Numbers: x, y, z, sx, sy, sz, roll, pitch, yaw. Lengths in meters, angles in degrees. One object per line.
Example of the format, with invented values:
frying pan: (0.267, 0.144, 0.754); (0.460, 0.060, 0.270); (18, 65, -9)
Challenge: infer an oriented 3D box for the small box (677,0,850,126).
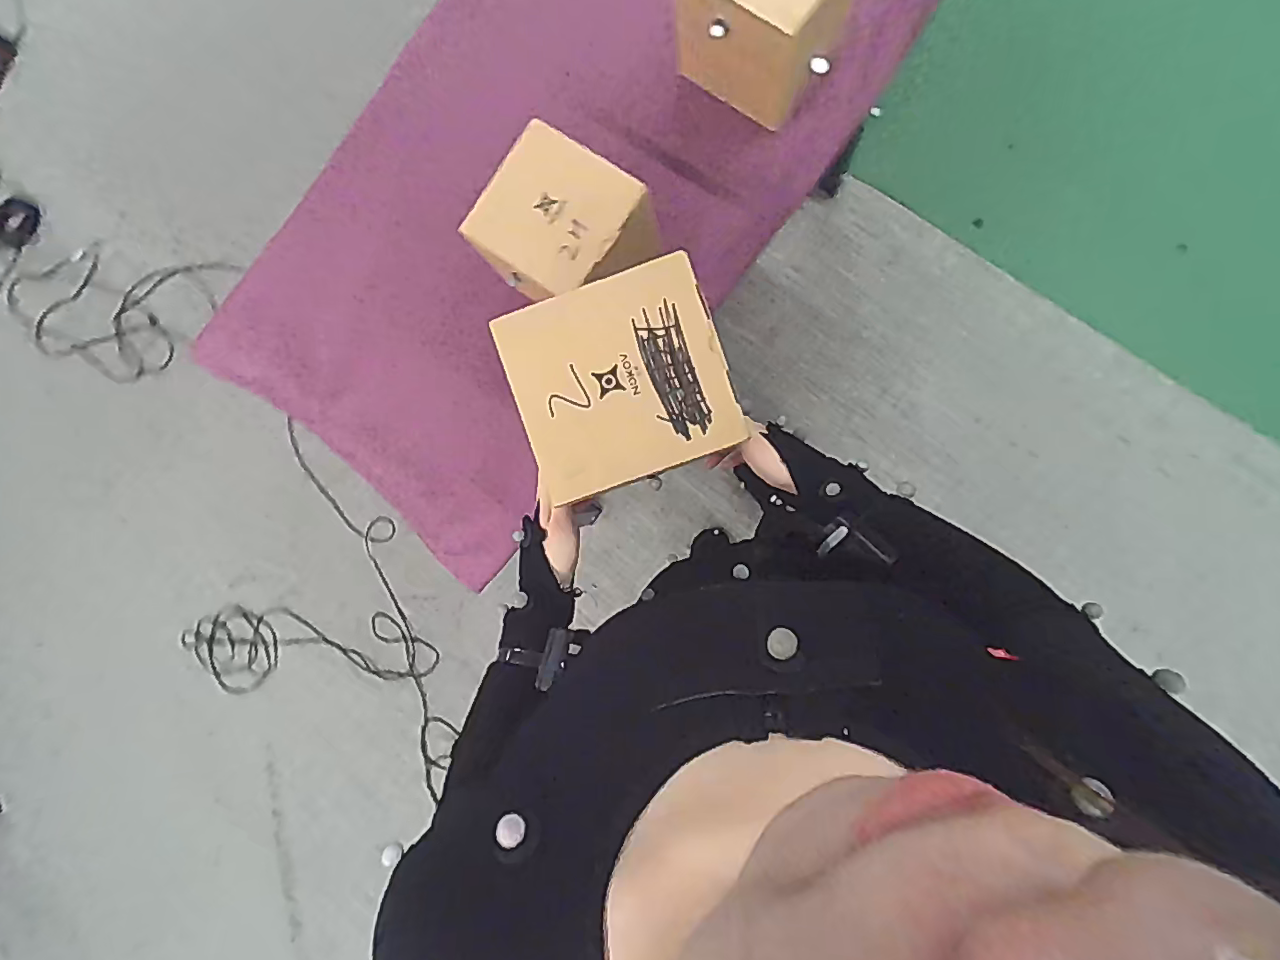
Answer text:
small box: (0.159, -0.617, 0.708); (0.179, 0.176, 0.168); (36, 93, 7)

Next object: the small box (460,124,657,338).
small box: (-0.096, -0.317, 0.726); (0.179, 0.176, 0.168); (35, 93, 9)
